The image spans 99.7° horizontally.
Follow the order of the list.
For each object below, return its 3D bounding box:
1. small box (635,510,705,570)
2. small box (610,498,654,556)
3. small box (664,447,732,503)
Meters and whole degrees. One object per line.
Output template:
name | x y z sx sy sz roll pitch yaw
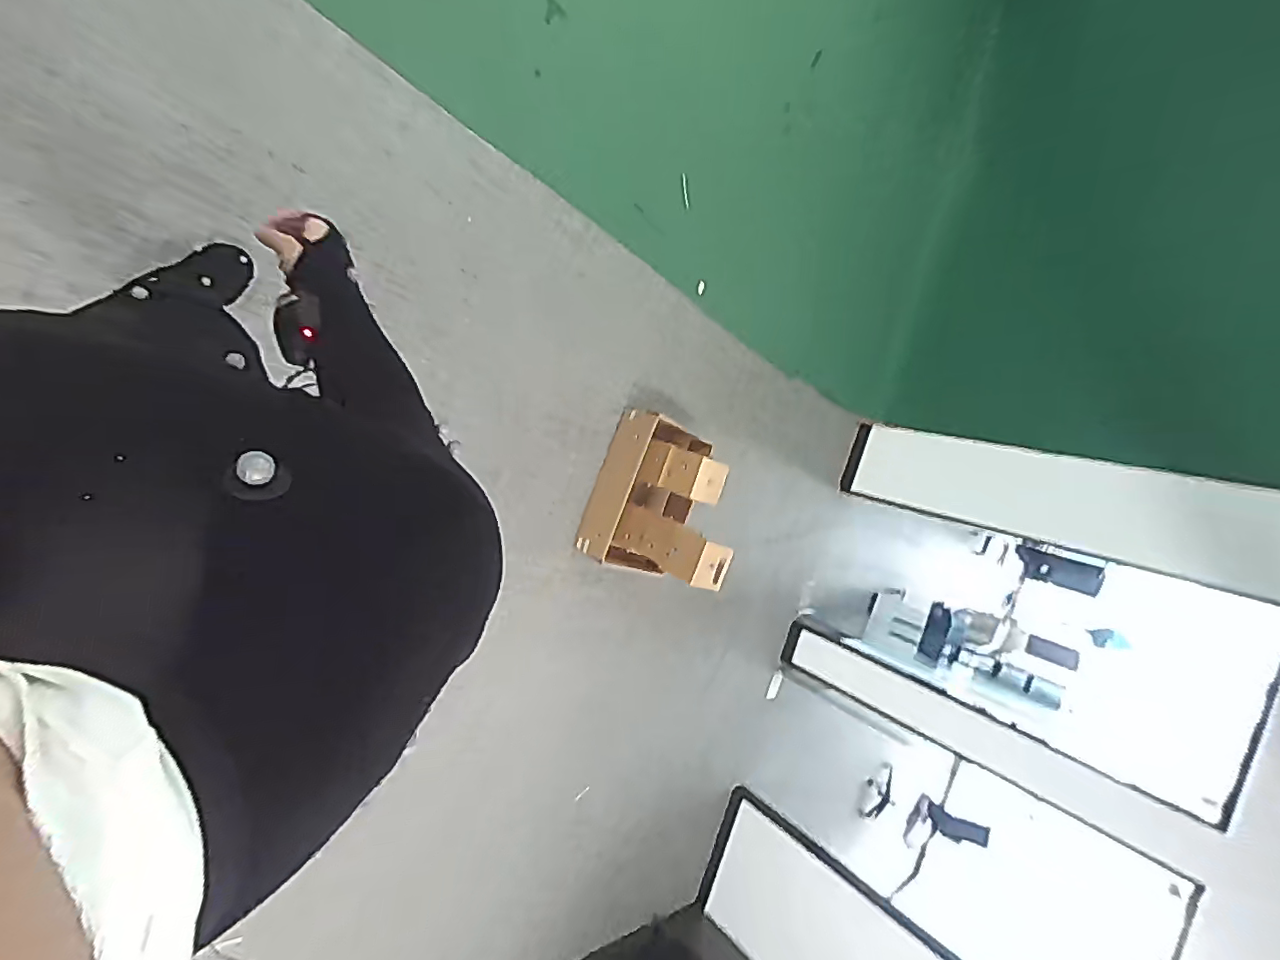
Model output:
small box | 0.112 0.229 2.090 0.179 0.176 0.168 26 87 -45
small box | 0.001 0.193 2.203 0.168 0.176 0.179 26 85 -45
small box | 0.221 -0.021 2.105 0.179 0.176 0.168 16 94 -45
